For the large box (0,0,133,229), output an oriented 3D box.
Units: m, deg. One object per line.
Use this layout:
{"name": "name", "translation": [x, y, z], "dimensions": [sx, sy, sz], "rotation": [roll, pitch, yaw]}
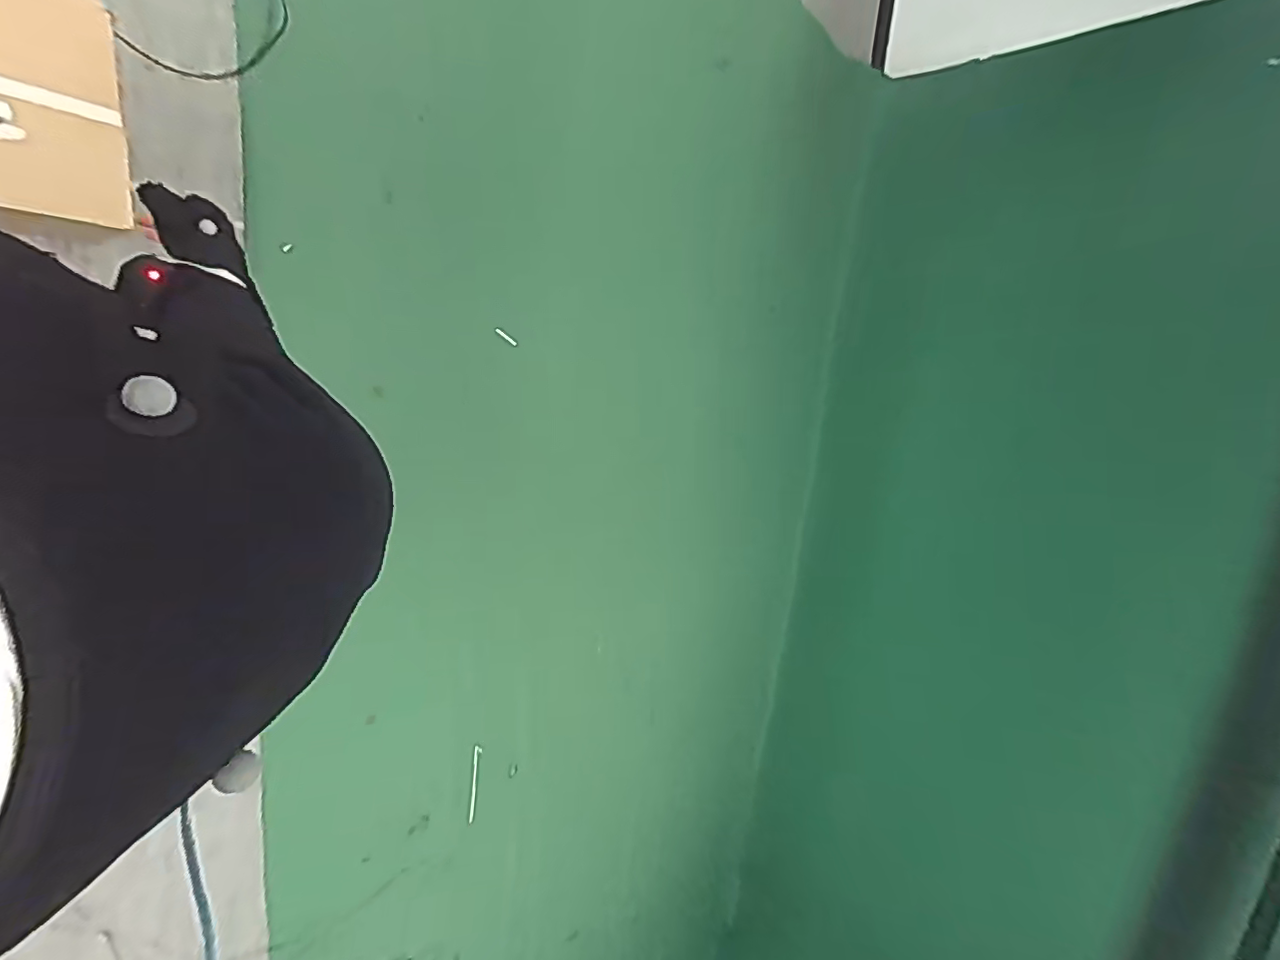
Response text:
{"name": "large box", "translation": [-1.029, -0.570, 0.758], "dimensions": [0.408, 0.320, 0.320], "rotation": [-10, 111, -50]}
